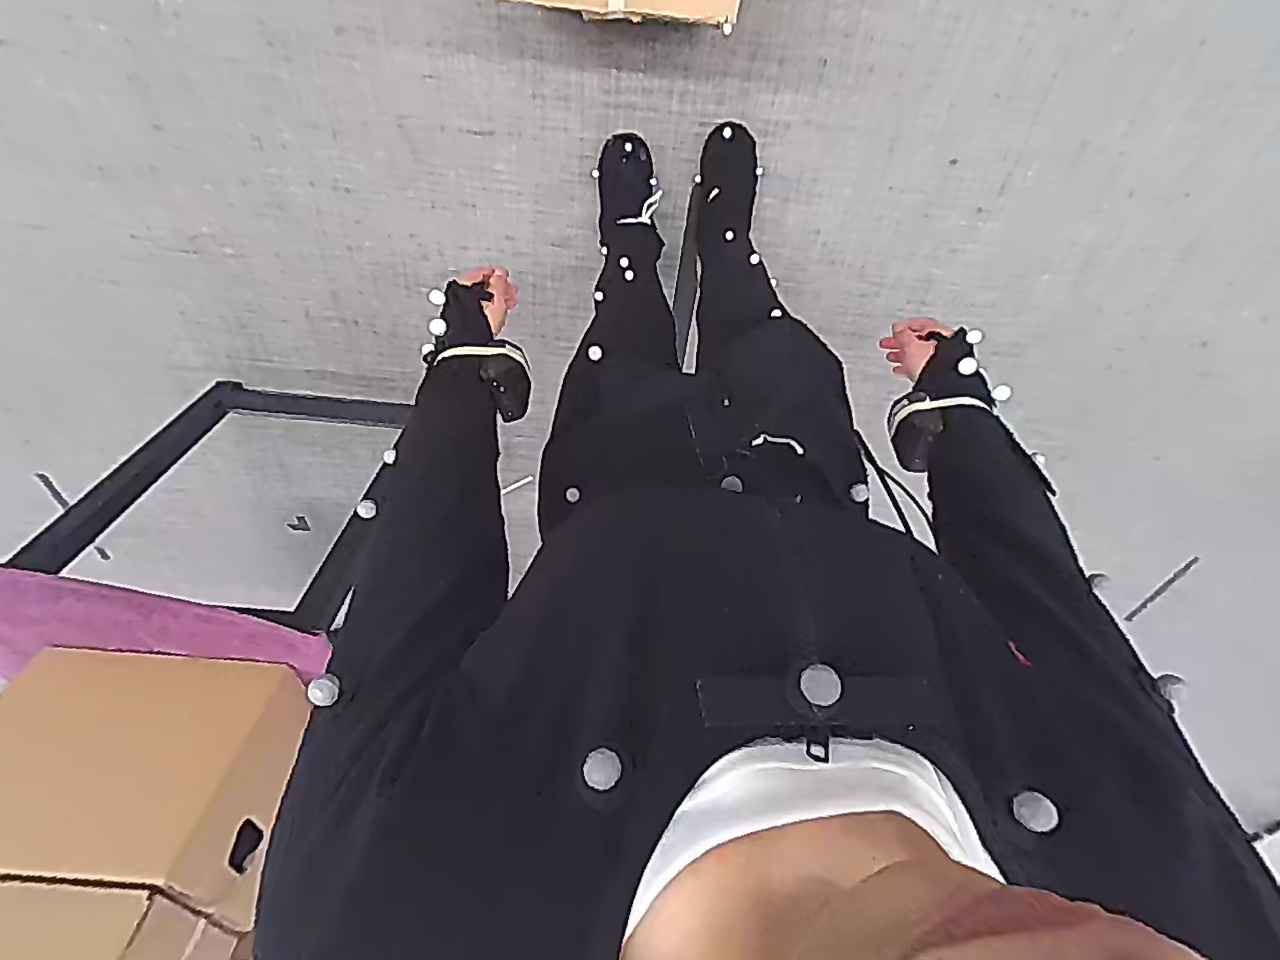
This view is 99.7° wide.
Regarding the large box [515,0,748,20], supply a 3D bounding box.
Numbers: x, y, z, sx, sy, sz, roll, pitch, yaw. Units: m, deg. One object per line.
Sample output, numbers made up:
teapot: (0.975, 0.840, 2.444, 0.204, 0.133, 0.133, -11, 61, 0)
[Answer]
large box: (-0.004, -0.847, 0.666, 0.320, 0.320, 0.408, 4, 132, -2)
